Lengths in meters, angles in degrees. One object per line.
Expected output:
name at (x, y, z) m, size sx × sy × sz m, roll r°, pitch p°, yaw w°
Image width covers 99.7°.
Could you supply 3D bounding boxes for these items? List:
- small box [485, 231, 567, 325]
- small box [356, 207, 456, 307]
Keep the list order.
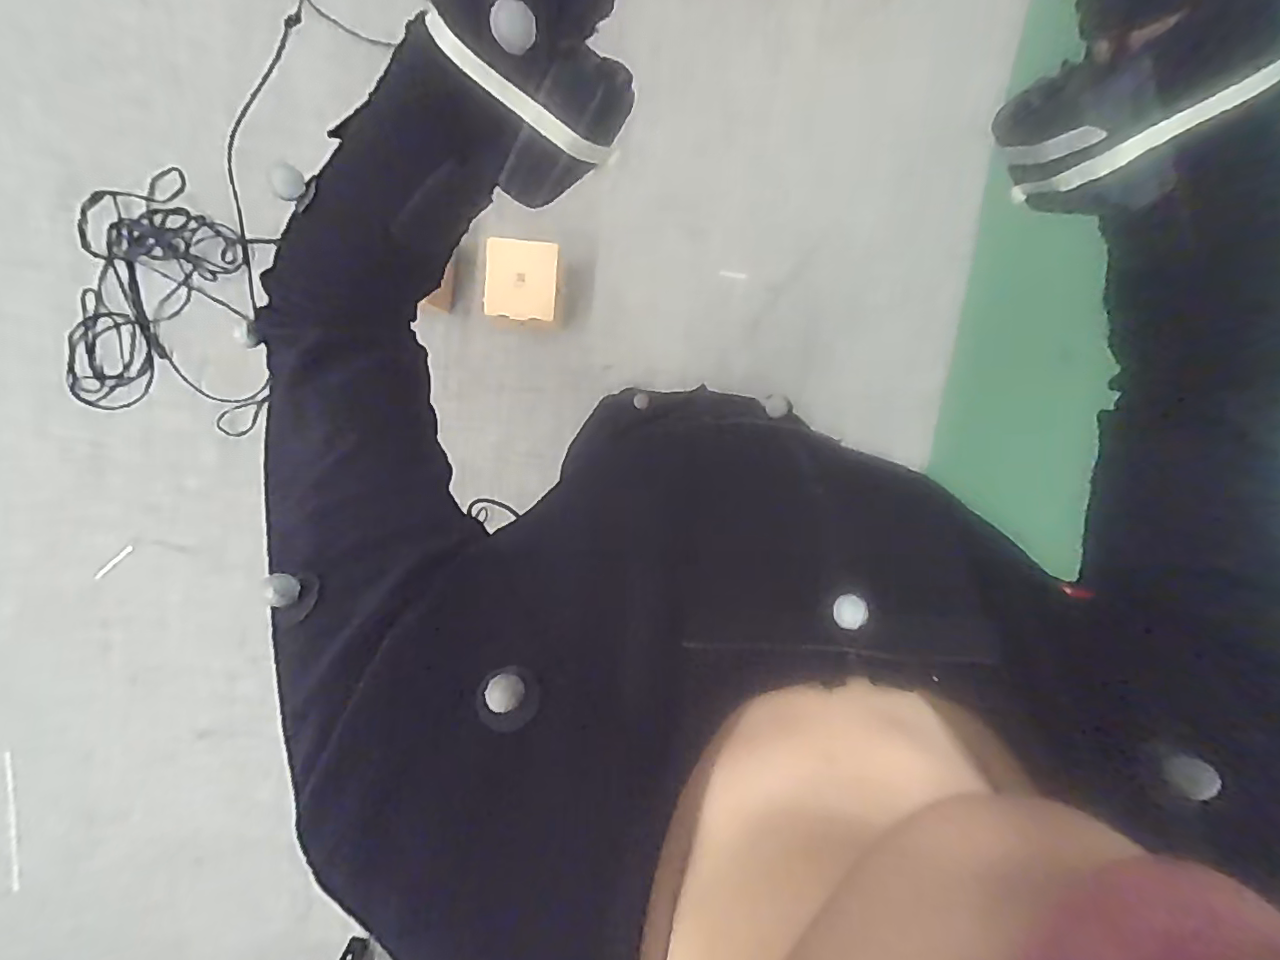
small box at (-0.274, -0.488, 1.325) m, size 0.168 × 0.176 × 0.179 m, roll 5°, pitch 99°, yaw -1°
small box at (-0.561, -0.532, 1.316) m, size 0.168 × 0.176 × 0.179 m, roll 10°, pitch 98°, yaw -2°
